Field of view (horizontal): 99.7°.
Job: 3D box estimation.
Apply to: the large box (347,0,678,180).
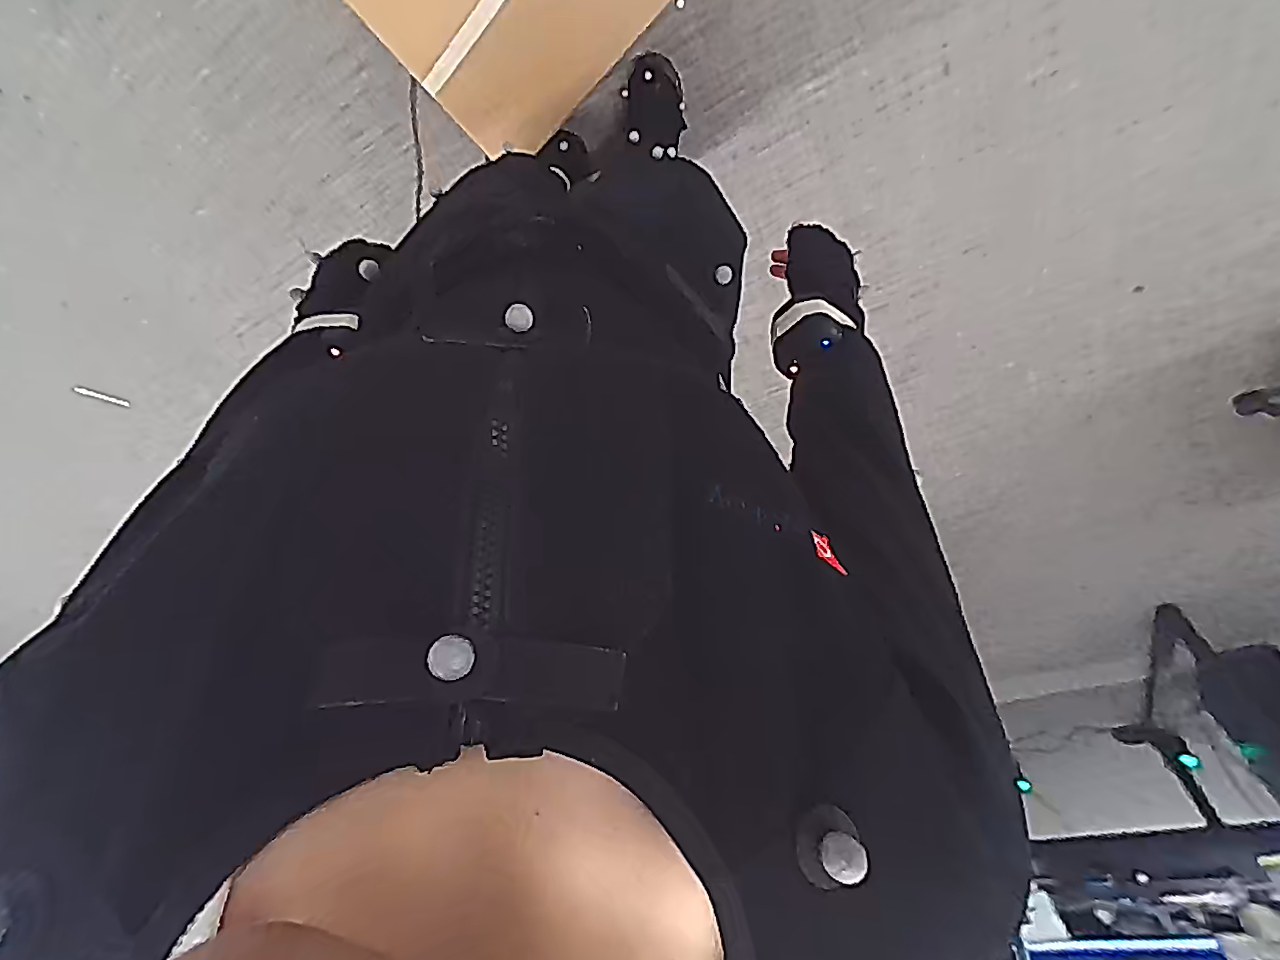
[{"bbox_3d":[-0.146,-0.756,0.805,0.408,0.320,0.320,-32,122,27],"label":"large box"}]
